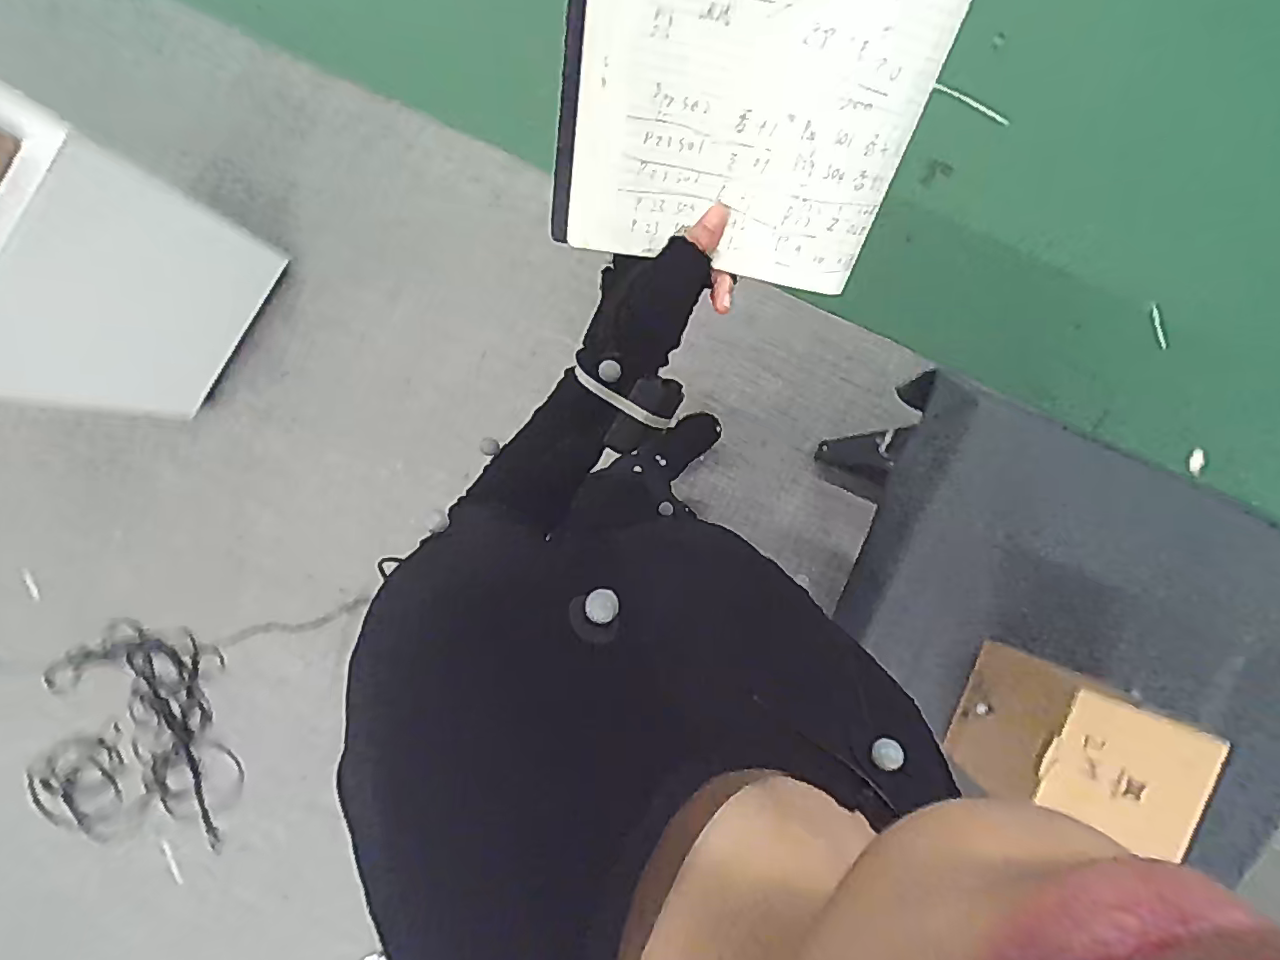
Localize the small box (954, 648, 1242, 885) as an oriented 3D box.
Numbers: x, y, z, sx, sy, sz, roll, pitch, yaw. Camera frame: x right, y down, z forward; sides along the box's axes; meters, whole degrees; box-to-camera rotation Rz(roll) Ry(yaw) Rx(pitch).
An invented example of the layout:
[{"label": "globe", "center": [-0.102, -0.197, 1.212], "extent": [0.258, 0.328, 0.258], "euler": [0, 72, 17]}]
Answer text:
[{"label": "small box", "center": [0.533, 0.327, 0.657], "extent": [0.179, 0.176, 0.168], "euler": [21, 91, 1]}]
